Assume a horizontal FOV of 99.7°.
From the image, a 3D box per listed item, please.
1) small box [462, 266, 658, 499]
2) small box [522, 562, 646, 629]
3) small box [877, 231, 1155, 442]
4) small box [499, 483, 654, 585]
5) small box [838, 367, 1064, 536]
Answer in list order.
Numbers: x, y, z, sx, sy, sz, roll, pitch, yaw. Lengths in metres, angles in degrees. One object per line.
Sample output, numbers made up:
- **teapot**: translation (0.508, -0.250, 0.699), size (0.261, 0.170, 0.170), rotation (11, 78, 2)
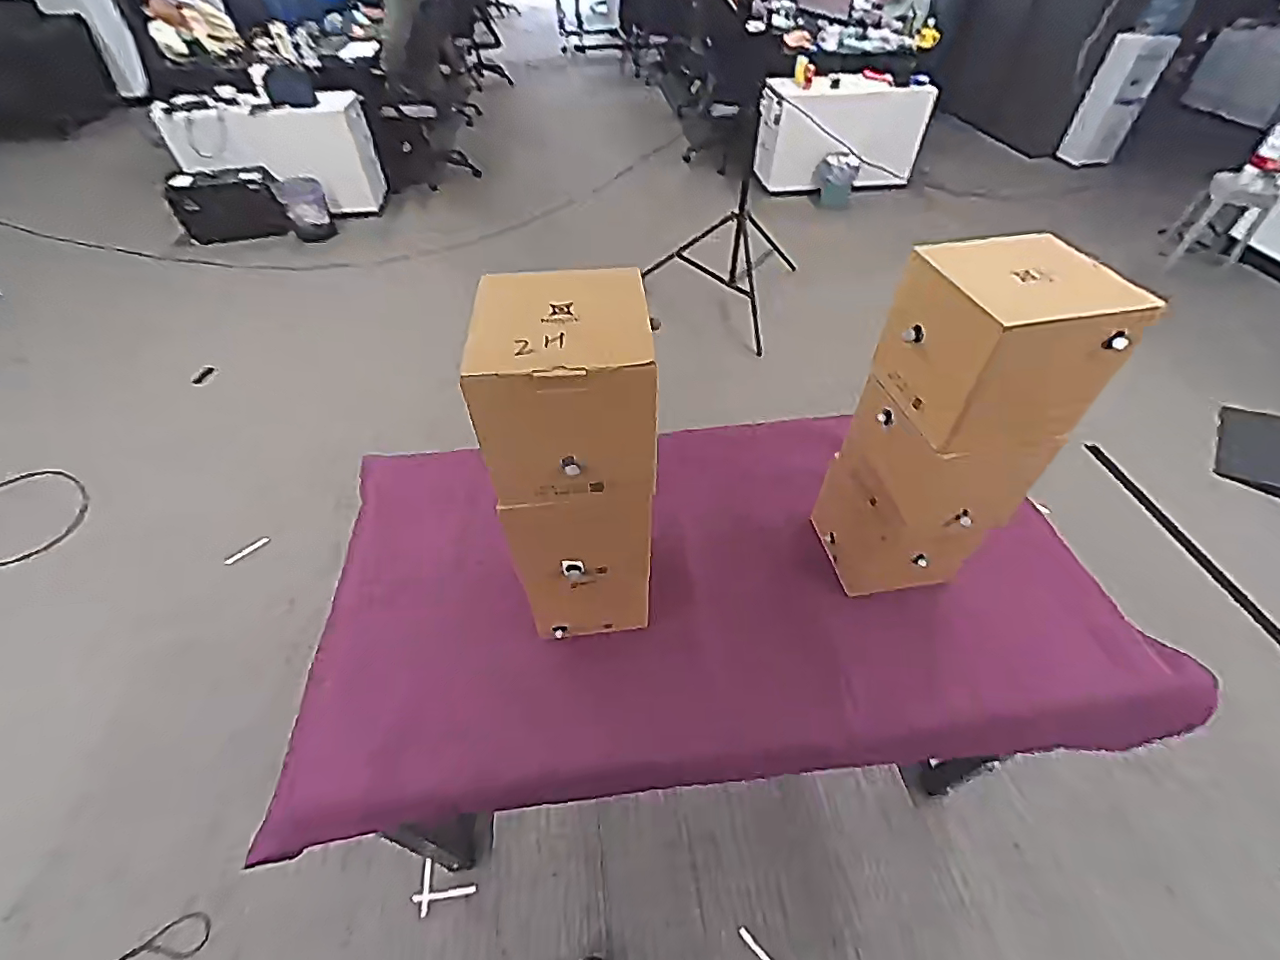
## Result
- **small box**: translation (-0.073, -0.101, 0.564), size (0.168, 0.176, 0.179), rotation (-5, 48, -3)
- **small box**: translation (-0.081, 0.110, 0.815), size (0.168, 0.176, 0.179), rotation (-6, 47, -5)
- **small box**: translation (0.398, -0.161, 0.619), size (0.179, 0.176, 0.168), rotation (-9, 48, -8)
- **small box**: translation (-0.077, 0.010, 0.686), size (0.168, 0.176, 0.179), rotation (-6, 49, -4)
- **small box**: translation (0.401, -0.045, 0.735), size (0.179, 0.176, 0.168), rotation (-9, 48, -8)
